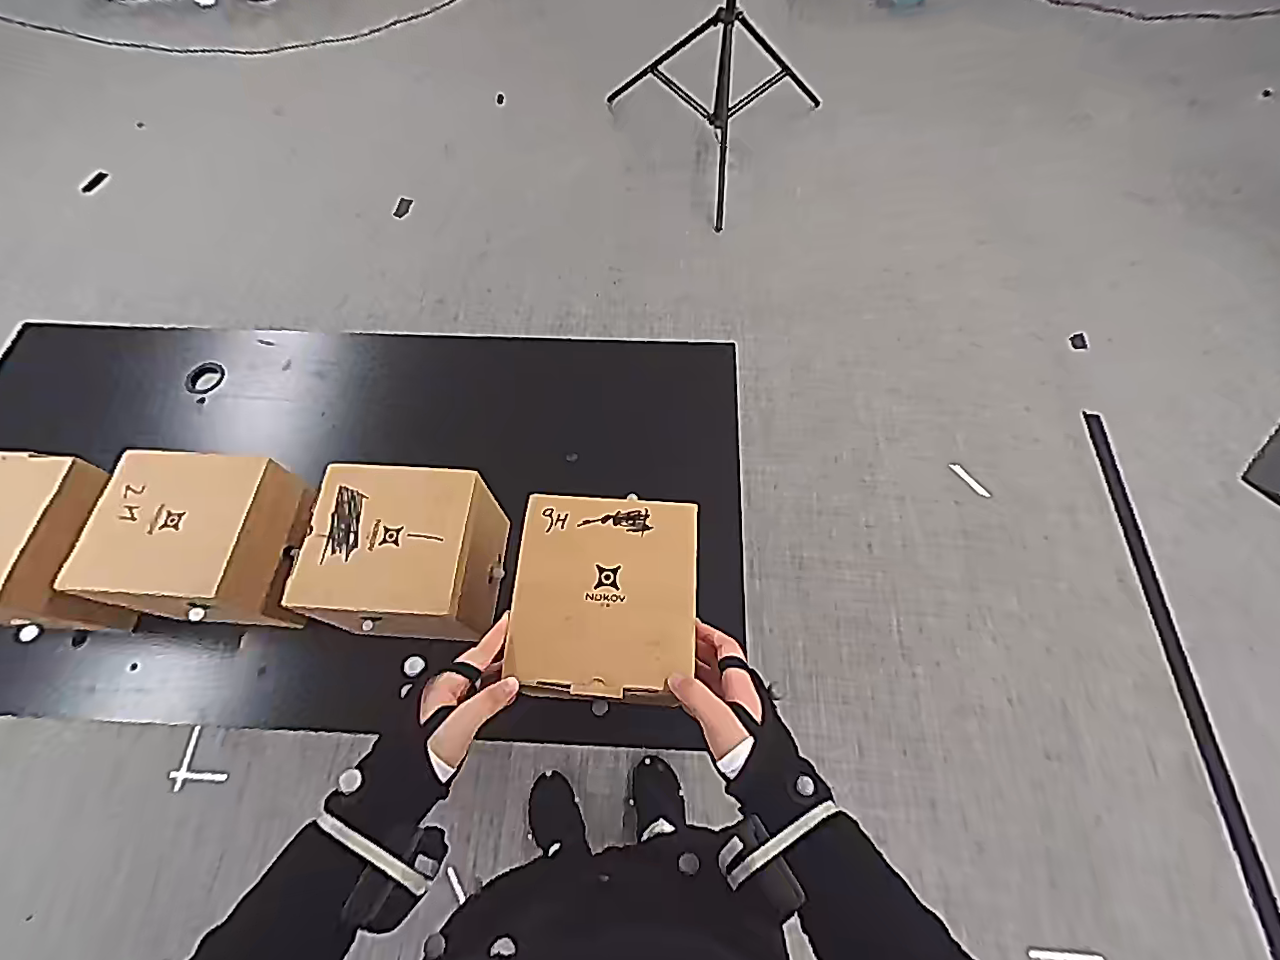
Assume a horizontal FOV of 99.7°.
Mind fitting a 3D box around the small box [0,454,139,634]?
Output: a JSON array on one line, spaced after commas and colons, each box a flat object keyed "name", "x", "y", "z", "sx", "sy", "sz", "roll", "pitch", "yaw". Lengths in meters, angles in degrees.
[{"name": "small box", "x": -0.733, "y": 0.082, "z": 0.661, "sx": 0.168, "sy": 0.176, "sz": 0.179, "roll": 1, "pitch": 66, "yaw": 3}]

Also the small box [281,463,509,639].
[{"name": "small box", "x": -0.272, "y": 0.092, "z": 0.648, "sx": 0.179, "sy": 0.176, "sz": 0.168, "roll": 3, "pitch": 65, "yaw": 2}]

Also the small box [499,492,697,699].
[{"name": "small box", "x": -0.032, "y": 0.127, "z": 0.557, "sx": 0.168, "sy": 0.176, "sz": 0.179, "roll": 3, "pitch": 66, "yaw": 1}]

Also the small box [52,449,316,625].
[{"name": "small box", "x": -0.513, "y": 0.077, "z": 0.658, "sx": 0.179, "sy": 0.176, "sz": 0.168, "roll": 3, "pitch": 65, "yaw": 2}]
